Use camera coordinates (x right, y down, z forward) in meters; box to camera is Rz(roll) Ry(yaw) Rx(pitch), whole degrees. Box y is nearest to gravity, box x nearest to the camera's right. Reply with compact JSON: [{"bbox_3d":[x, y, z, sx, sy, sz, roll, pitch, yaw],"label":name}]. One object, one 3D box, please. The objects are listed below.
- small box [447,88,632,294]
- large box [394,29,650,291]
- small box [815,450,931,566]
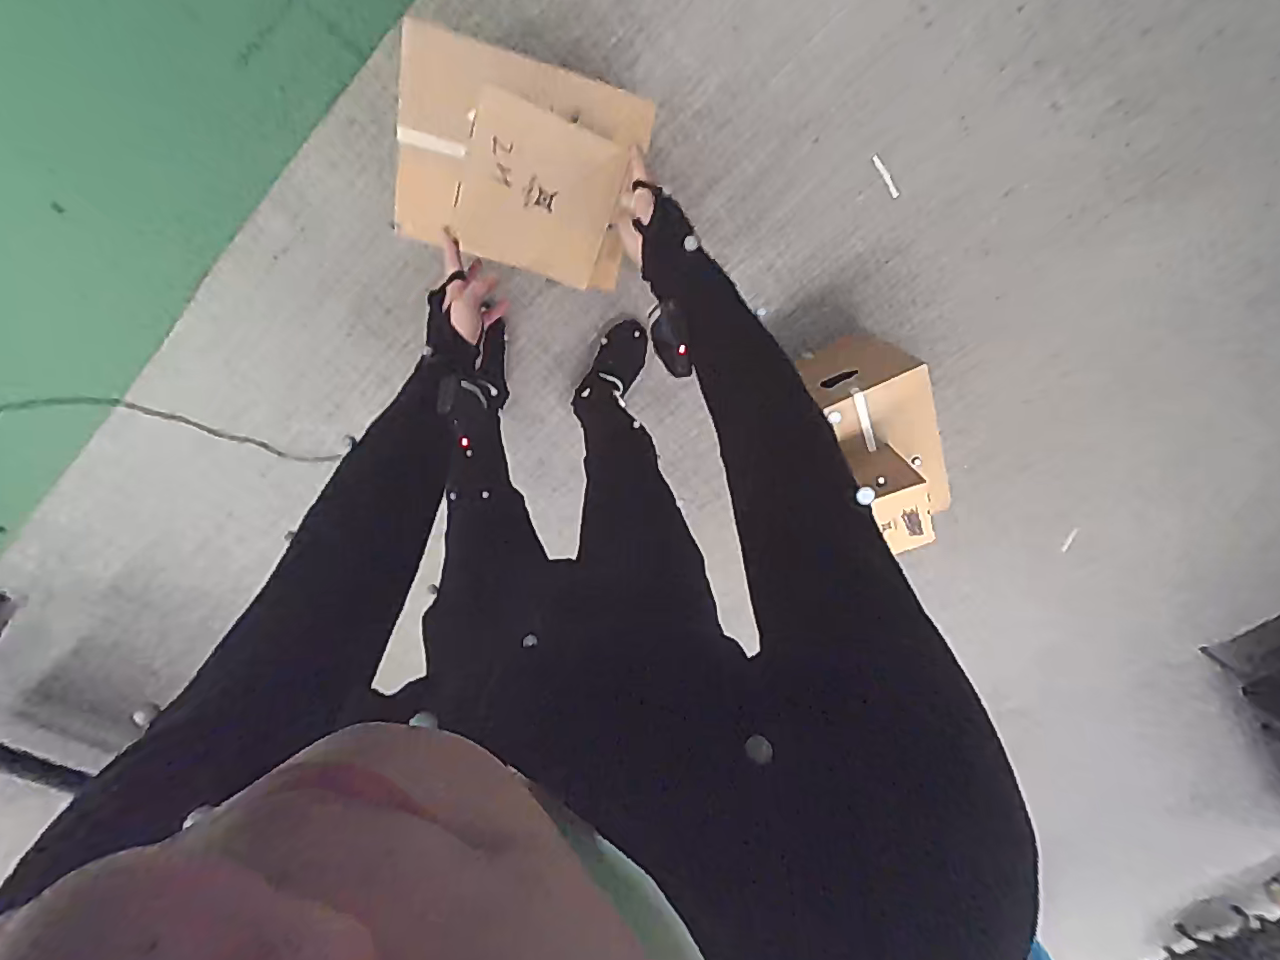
[{"bbox_3d":[-0.123,-0.365,0.695,0.179,0.176,0.168,19,116,-14],"label":"small box"},{"bbox_3d":[-0.217,-0.594,1.052,0.408,0.320,0.320,11,117,-11],"label":"large box"},{"bbox_3d":[0.518,0.056,1.211,0.179,0.176,0.168,-20,119,8],"label":"small box"}]
